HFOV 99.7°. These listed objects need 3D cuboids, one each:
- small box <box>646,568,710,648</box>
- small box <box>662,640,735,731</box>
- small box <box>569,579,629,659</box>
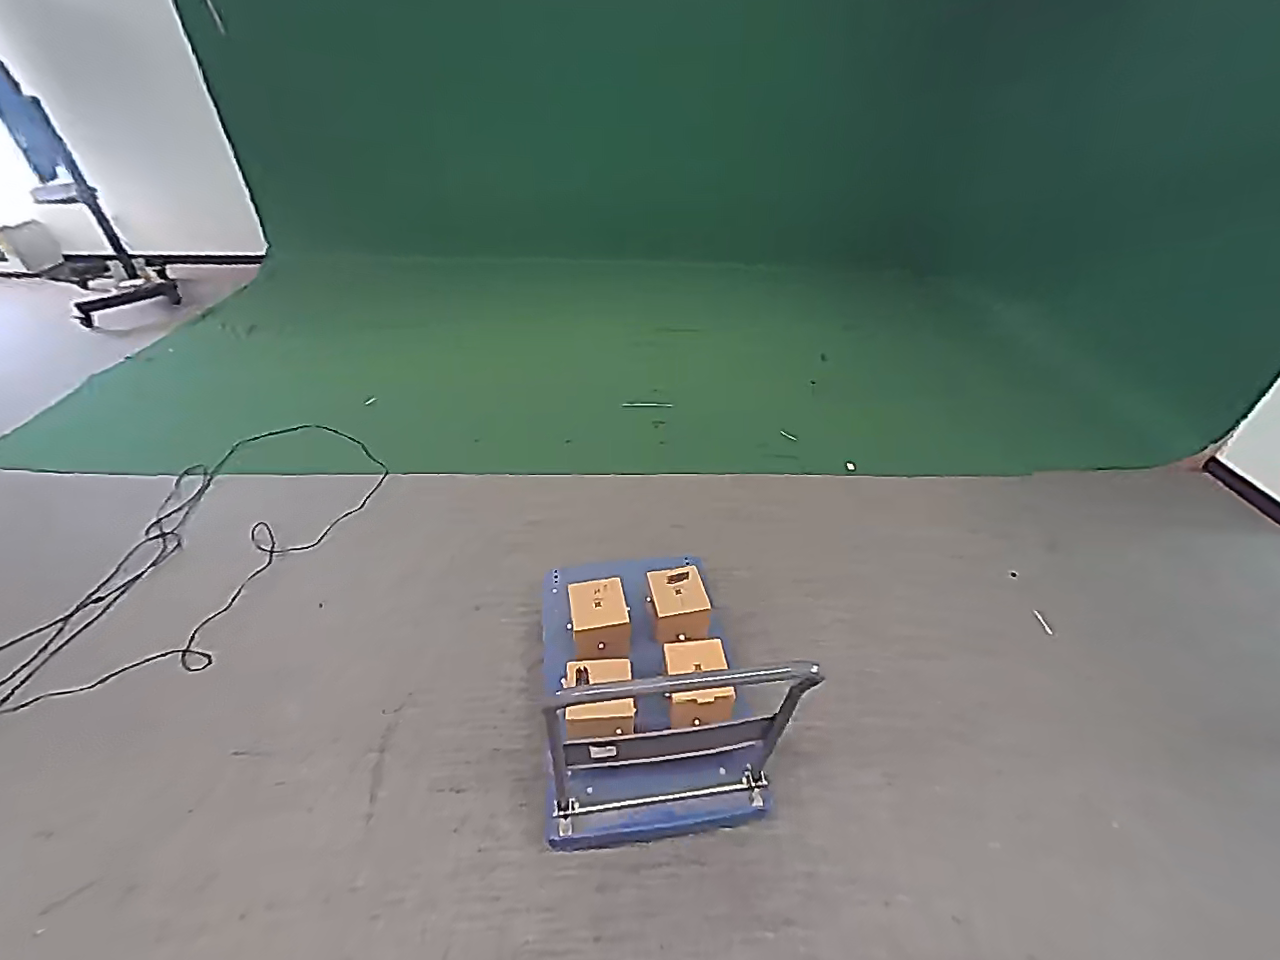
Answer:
[{"bbox_3d":[0.117,0.411,1.741,0.168,0.176,0.179,-7,41,-9],"label":"small box"},{"bbox_3d":[0.157,0.583,1.536,0.168,0.176,0.179,-4,40,-7],"label":"small box"},{"bbox_3d":[-0.129,0.442,1.696,0.168,0.176,0.179,-6,40,-11],"label":"small box"}]
